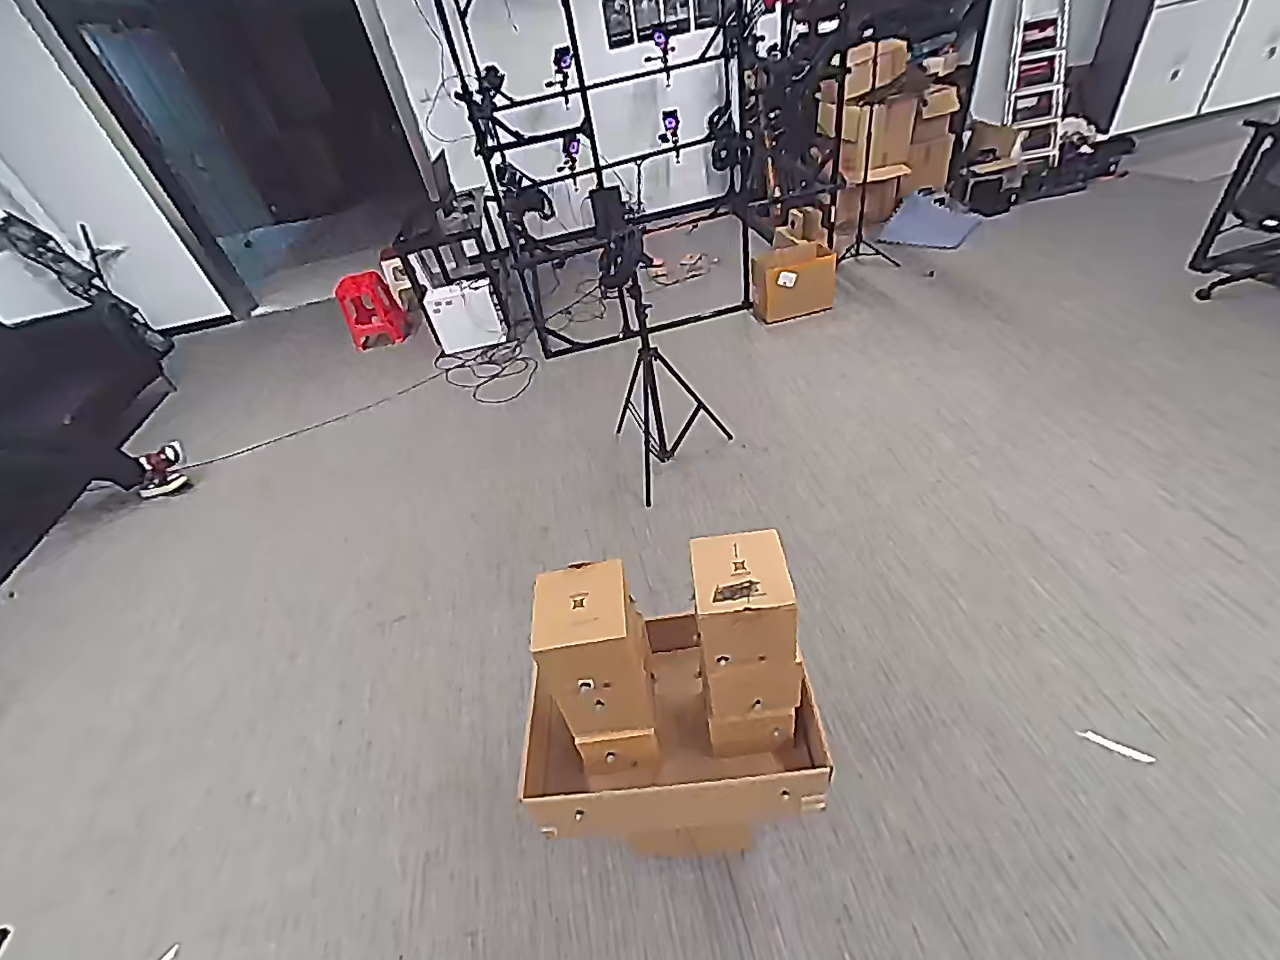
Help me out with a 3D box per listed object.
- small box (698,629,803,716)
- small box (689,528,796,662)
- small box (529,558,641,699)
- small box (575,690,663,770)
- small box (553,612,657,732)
[{"bbox_3d":[0.213,0.349,1.082,0.179,0.176,0.168,-9,40,2],"label":"small box"},{"bbox_3d":[0.185,0.216,0.987,0.168,0.176,0.179,-7,40,5],"label":"small box"},{"bbox_3d":[-0.096,0.273,0.997,0.168,0.176,0.179,-10,39,3],"label":"small box"},{"bbox_3d":[-0.045,0.524,1.202,0.168,0.176,0.179,-9,40,2],"label":"small box"},{"bbox_3d":[-0.066,0.395,1.102,0.179,0.176,0.168,-8,40,3],"label":"small box"}]
